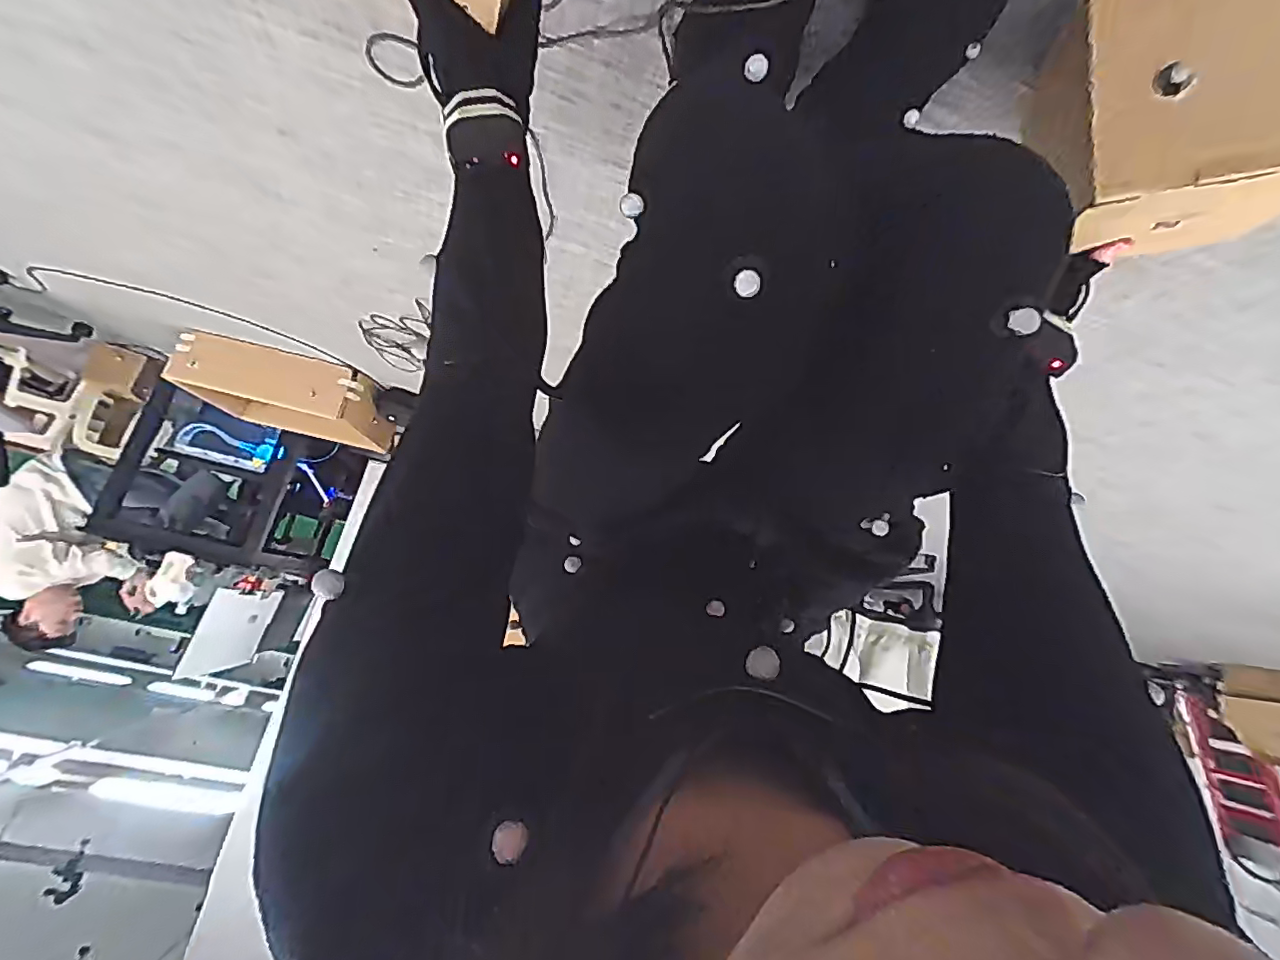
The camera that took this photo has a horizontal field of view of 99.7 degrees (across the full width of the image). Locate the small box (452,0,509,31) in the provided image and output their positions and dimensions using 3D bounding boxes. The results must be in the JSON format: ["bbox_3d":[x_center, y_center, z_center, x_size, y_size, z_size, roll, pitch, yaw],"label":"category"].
[{"bbox_3d":[-0.116,-0.421,0.305,0.168,0.176,0.179,26,-165,-28],"label":"small box"}]

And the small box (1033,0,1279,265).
[{"bbox_3d":[0.432,-0.293,0.430,0.168,0.176,0.179,-3,-174,22],"label":"small box"}]
